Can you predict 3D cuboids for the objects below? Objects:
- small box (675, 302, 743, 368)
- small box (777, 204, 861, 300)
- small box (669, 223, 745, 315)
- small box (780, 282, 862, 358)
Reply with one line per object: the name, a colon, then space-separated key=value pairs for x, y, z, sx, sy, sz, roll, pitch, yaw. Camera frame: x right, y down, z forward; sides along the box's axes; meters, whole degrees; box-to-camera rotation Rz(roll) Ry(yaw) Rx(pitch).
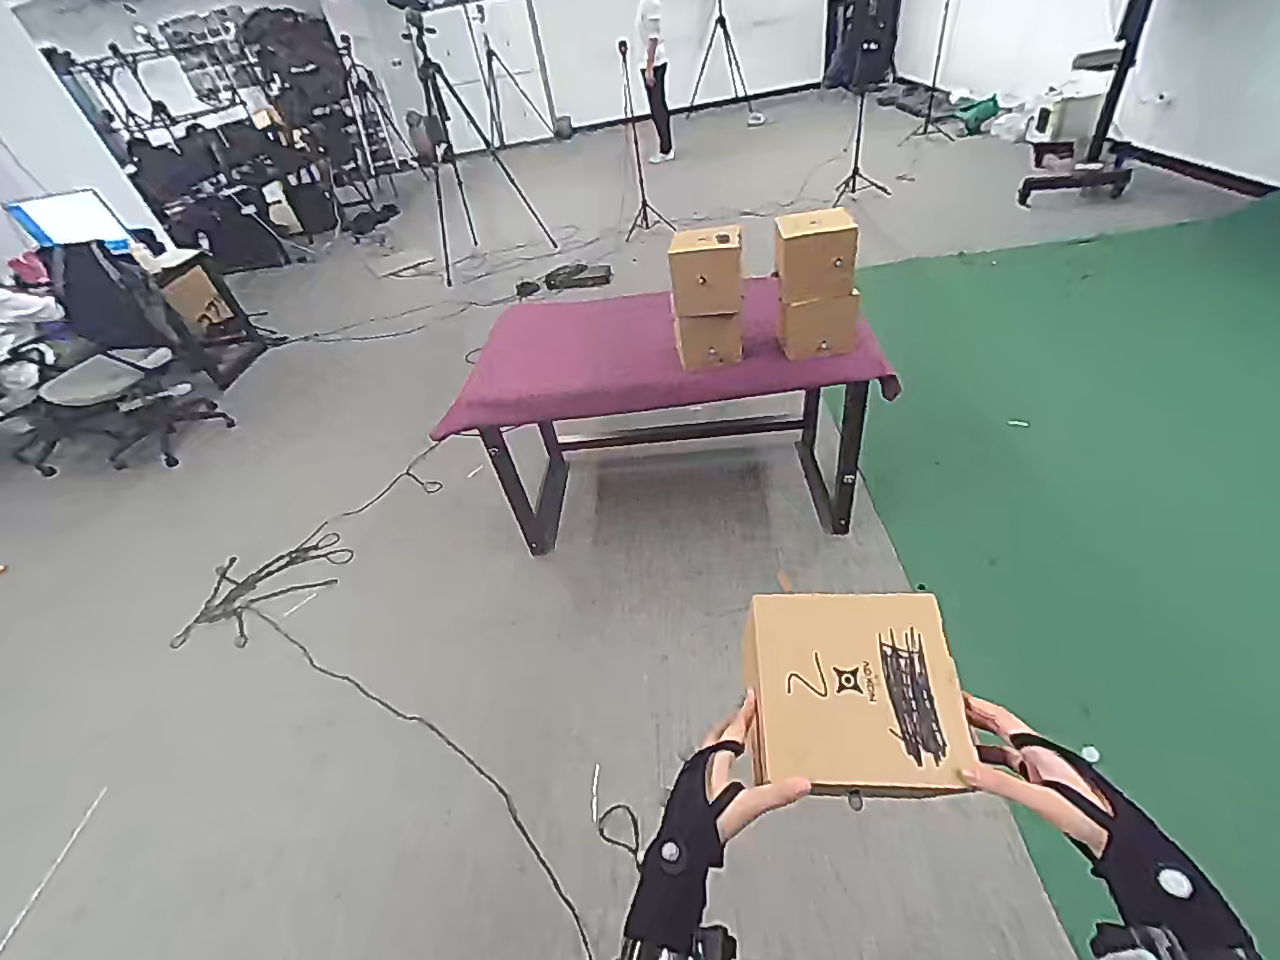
small box: x=0.193 y=-0.439 z=1.535 sx=0.168 sy=0.176 sz=0.179 roll=-10 pitch=41 yaw=3
small box: x=0.448 y=-0.578 z=1.378 sx=0.179 sy=0.176 sz=0.168 roll=-5 pitch=42 yaw=10
small box: x=0.182 y=-0.548 z=1.408 sx=0.179 sy=0.176 sz=0.168 roll=-1 pitch=41 yaw=14
small box: x=0.486 y=-0.454 z=1.478 sx=0.179 sy=0.176 sz=0.168 roll=-9 pitch=41 yaw=5
